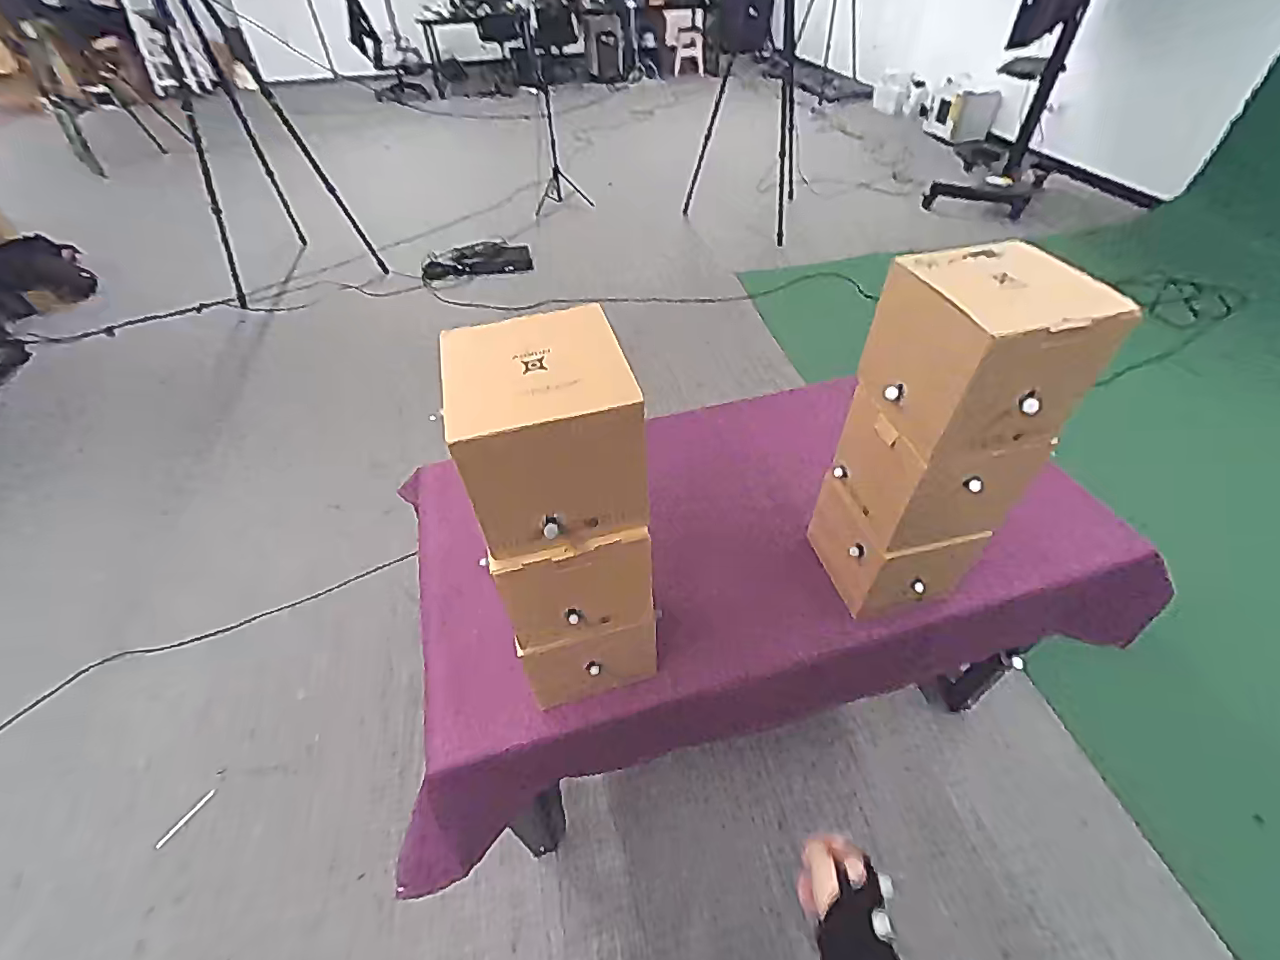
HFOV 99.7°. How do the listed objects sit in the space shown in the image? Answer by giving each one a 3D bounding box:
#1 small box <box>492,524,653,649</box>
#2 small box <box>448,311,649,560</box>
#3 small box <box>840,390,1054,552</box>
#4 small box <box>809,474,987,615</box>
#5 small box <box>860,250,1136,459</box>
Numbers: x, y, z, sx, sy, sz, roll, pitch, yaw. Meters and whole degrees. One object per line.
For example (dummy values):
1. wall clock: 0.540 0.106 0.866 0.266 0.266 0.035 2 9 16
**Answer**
1. small box: -0.087 0.075 0.664 0.168 0.176 0.179 -12 47 -10
2. small box: -0.091 -0.046 0.554 0.168 0.176 0.179 -12 48 -9
3. small box: 0.395 -0.021 0.741 0.179 0.176 0.168 -9 47 -8
4. small box: 0.391 0.097 0.857 0.168 0.176 0.179 -10 46 -8
5. small box: 0.388 -0.140 0.628 0.168 0.176 0.179 -10 48 -8
